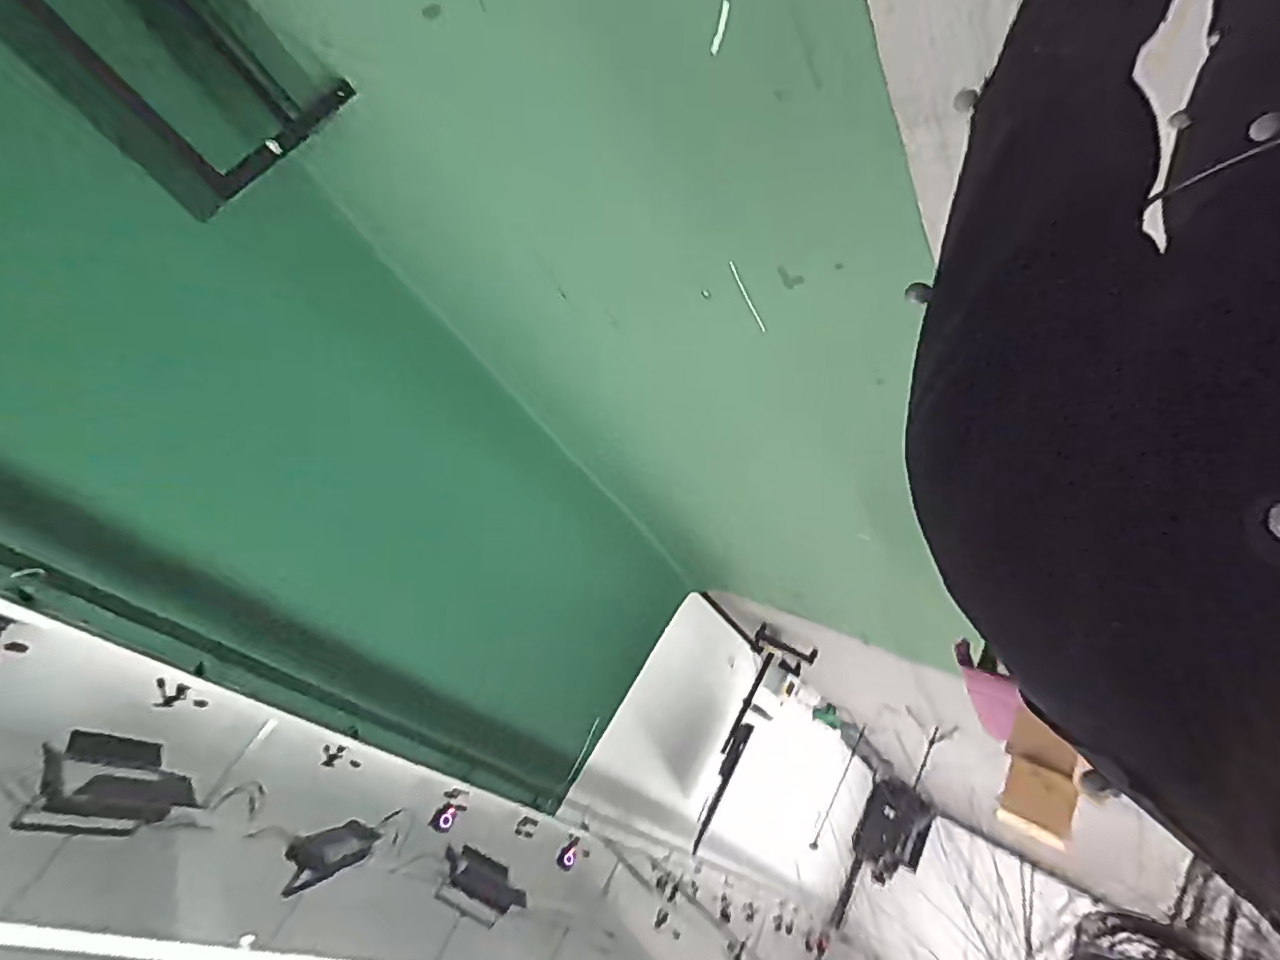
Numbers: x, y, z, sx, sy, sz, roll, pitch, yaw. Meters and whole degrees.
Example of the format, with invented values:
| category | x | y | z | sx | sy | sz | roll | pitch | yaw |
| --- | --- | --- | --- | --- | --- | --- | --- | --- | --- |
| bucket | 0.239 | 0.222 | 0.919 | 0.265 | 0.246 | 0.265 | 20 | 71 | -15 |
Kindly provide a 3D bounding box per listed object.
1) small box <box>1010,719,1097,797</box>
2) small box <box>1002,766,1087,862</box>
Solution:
| category | x | y | z | sx | sy | sz | roll | pitch | yaw |
| --- | --- | --- | --- | --- | --- | --- | --- | --- | --- |
| small box | 1.281 | 0.868 | 1.673 | 0.179 | 0.176 | 0.168 | 12 | 151 | 48 |
| small box | 1.192 | 0.984 | 1.597 | 0.168 | 0.176 | 0.179 | 16 | 153 | 41 |
